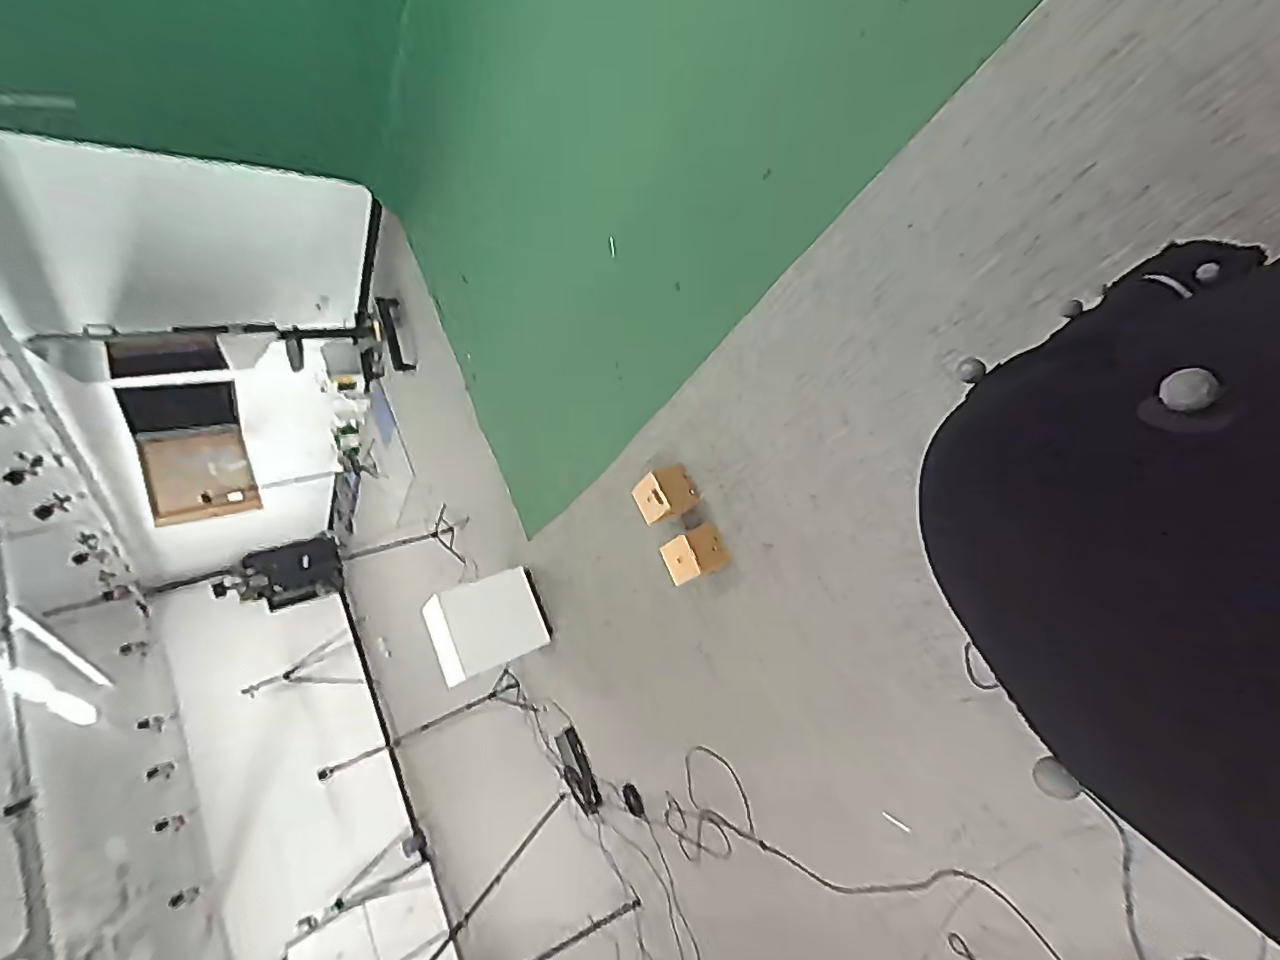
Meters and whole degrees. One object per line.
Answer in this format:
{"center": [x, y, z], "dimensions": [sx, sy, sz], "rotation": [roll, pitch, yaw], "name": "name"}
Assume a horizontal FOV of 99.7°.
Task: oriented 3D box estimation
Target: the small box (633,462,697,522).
{"center": [0.108, 0.044, 2.193], "dimensions": [0.179, 0.176, 0.168], "rotation": [-46, 65, 48], "name": "small box"}

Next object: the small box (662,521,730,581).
{"center": [0.221, 0.278, 2.125], "dimensions": [0.179, 0.176, 0.168], "rotation": [-41, 69, 48], "name": "small box"}
